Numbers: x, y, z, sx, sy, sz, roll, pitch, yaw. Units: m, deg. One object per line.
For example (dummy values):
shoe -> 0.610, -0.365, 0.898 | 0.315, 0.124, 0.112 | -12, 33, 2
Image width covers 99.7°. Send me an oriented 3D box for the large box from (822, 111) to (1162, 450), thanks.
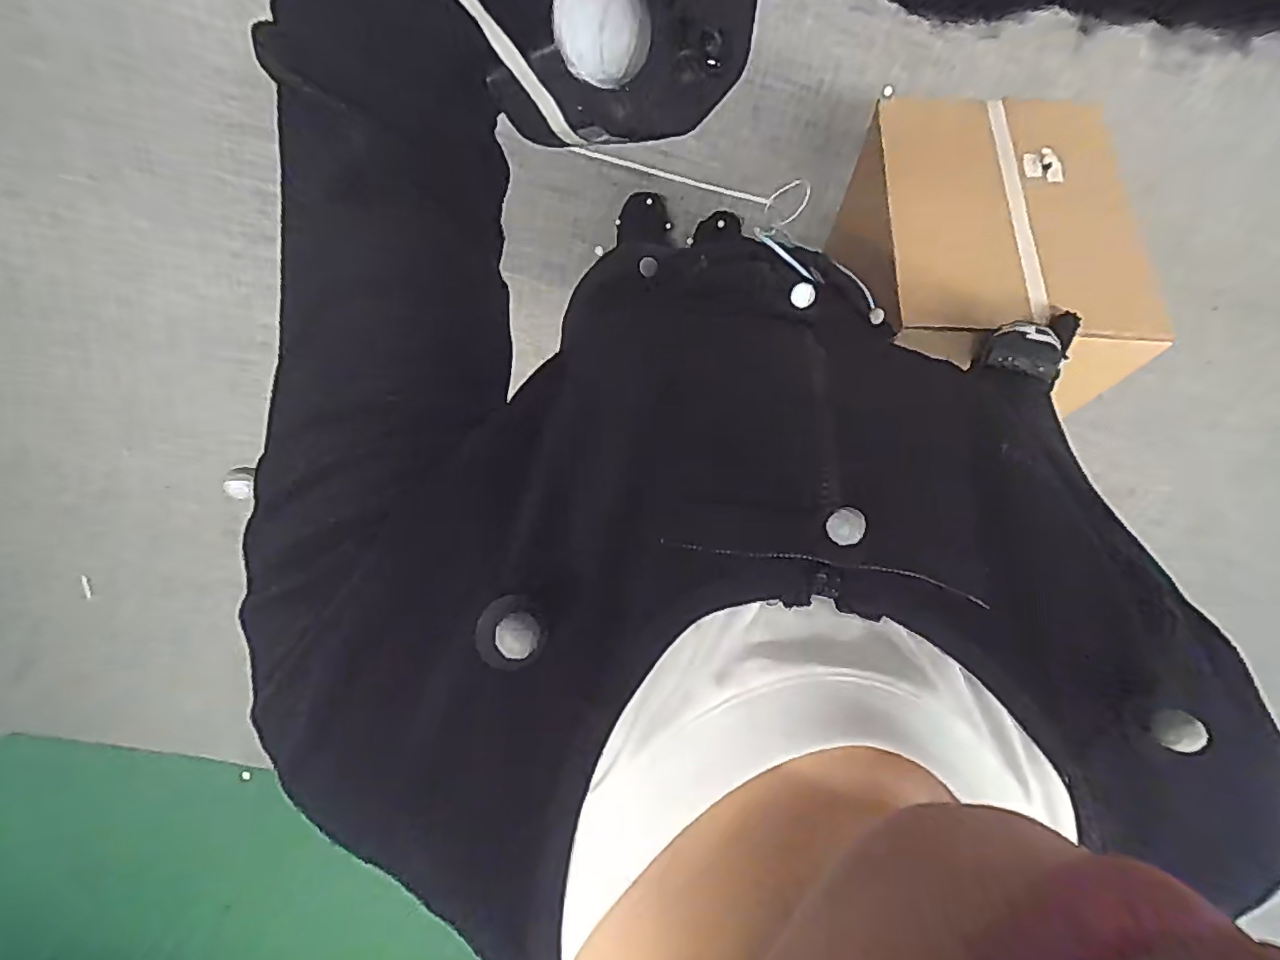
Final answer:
large box -> 0.487, -0.292, 0.855 | 0.320, 0.408, 0.320 | 4, 159, 3
